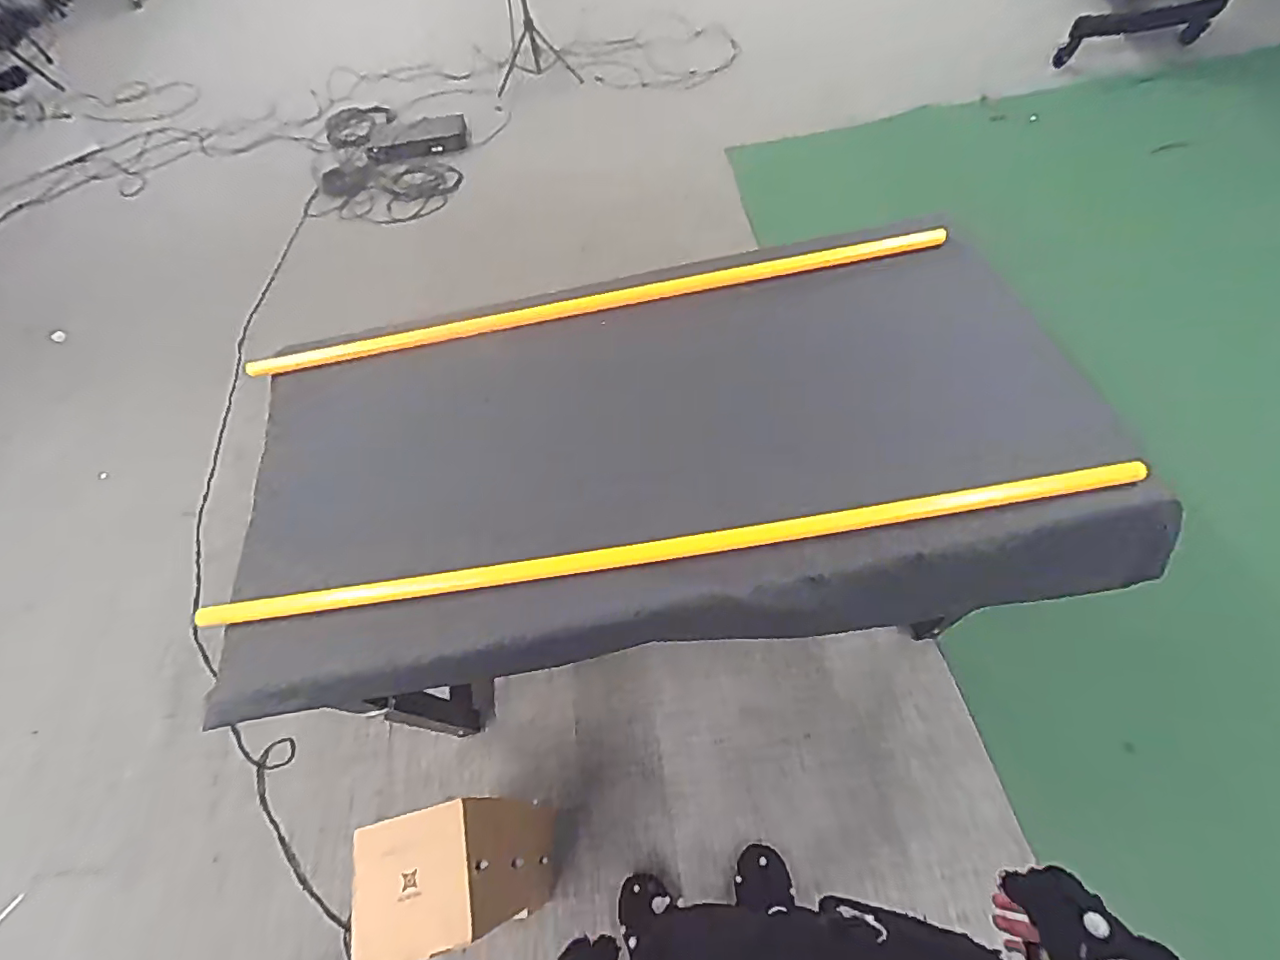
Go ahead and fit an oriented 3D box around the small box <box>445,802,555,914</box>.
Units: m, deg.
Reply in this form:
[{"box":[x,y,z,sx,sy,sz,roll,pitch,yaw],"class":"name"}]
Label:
[{"box":[-0.275,0.762,1.105,0.168,0.176,0.179,-5,61,4],"class":"small box"}]
